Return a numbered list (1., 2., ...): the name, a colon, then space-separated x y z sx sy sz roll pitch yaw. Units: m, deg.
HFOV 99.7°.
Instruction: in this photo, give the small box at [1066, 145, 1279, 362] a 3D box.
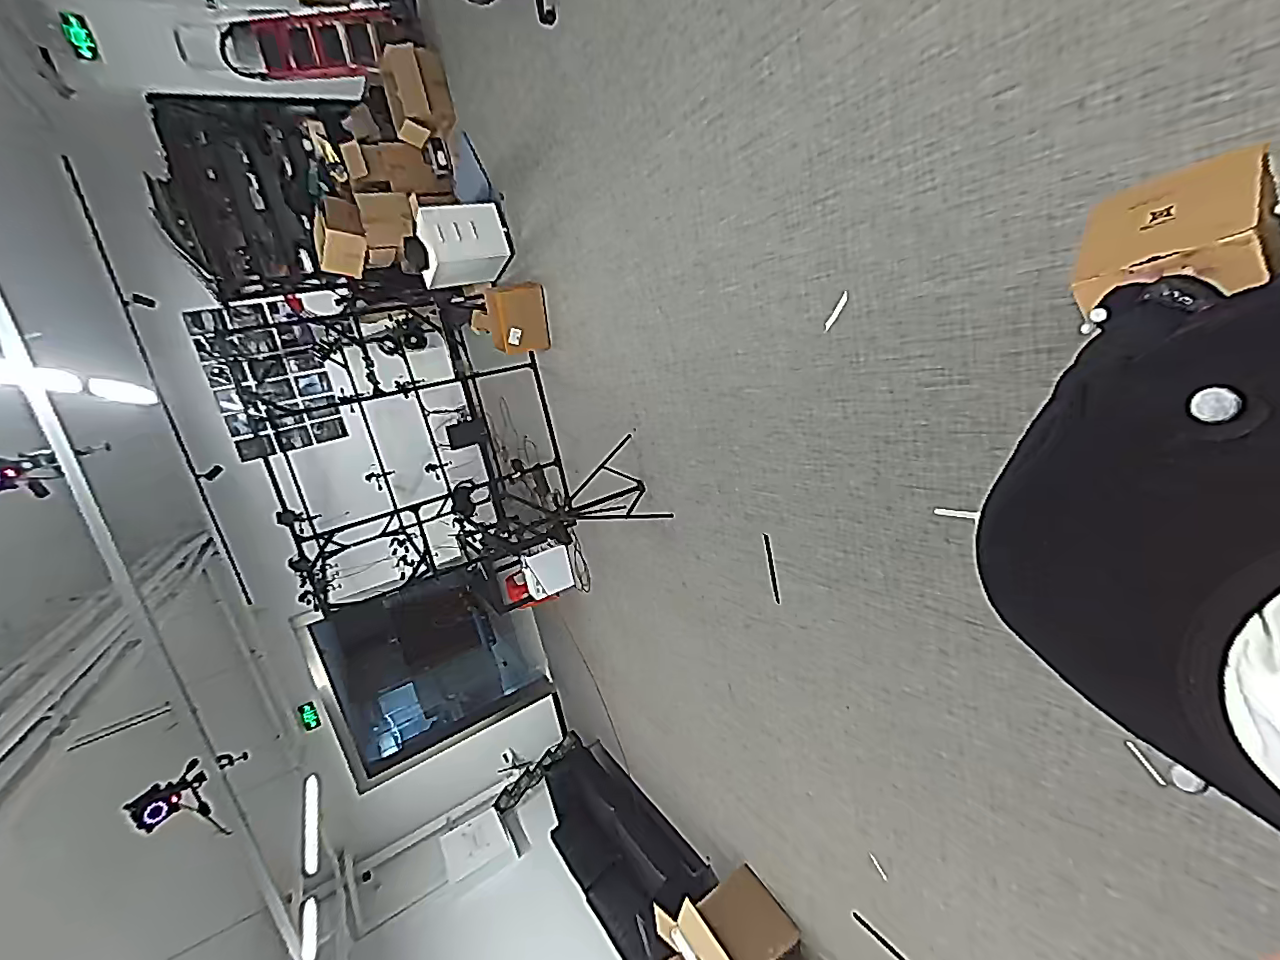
1. small box: 0.700 -0.276 0.707 0.176 0.179 0.168 42 155 -23
